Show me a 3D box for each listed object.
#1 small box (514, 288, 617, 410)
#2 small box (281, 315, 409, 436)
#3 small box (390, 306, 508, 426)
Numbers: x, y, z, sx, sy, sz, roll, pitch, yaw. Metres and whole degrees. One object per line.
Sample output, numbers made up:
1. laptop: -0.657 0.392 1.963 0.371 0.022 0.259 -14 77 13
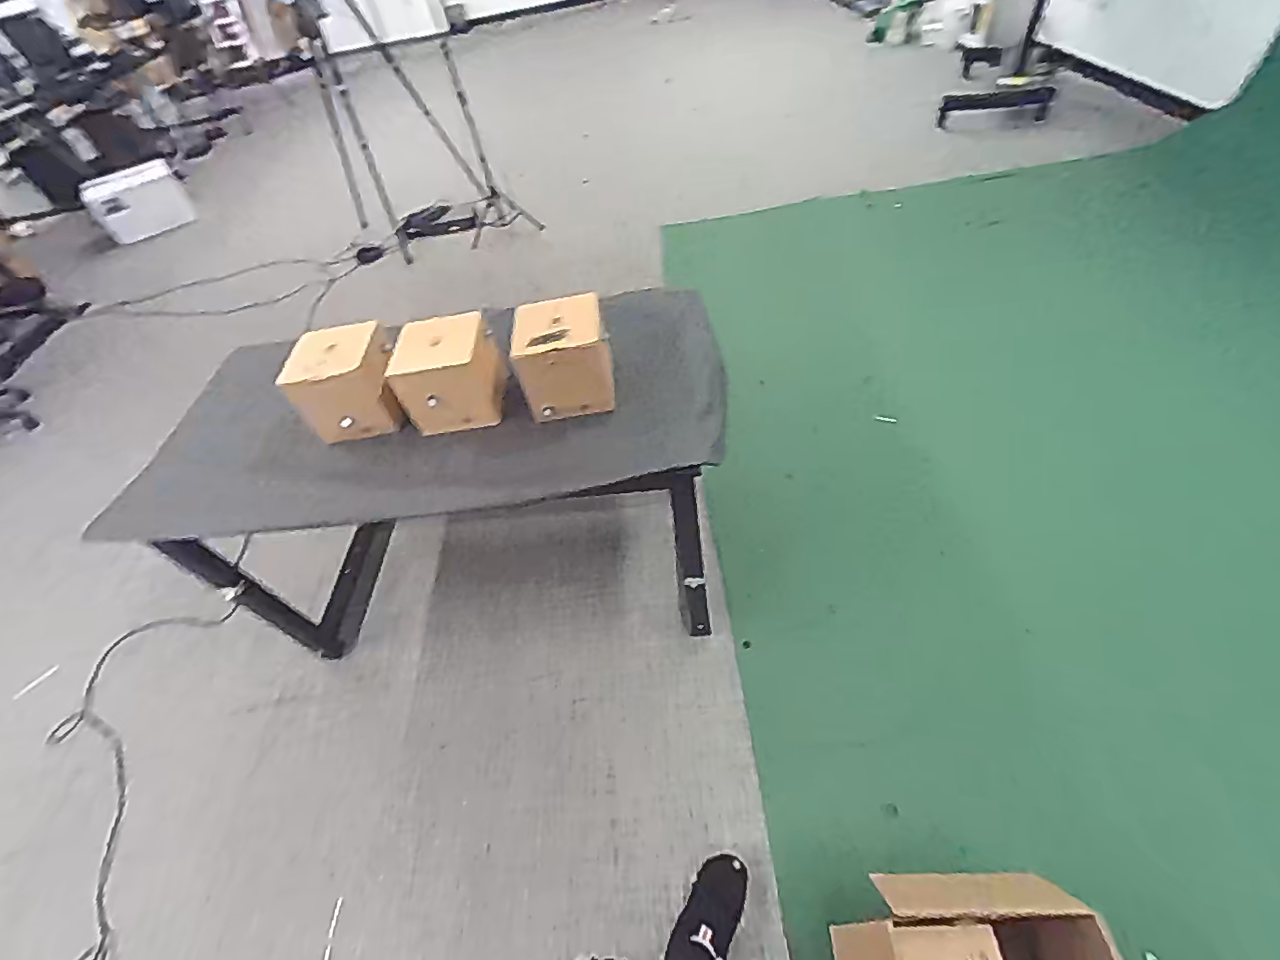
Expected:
1. small box: -0.143 -0.256 1.089 0.168 0.176 0.179 -9 49 3
2. small box: -0.603 -0.218 1.144 0.168 0.176 0.179 -9 49 3
3. small box: -0.380 -0.227 1.113 0.168 0.176 0.179 -8 49 4
